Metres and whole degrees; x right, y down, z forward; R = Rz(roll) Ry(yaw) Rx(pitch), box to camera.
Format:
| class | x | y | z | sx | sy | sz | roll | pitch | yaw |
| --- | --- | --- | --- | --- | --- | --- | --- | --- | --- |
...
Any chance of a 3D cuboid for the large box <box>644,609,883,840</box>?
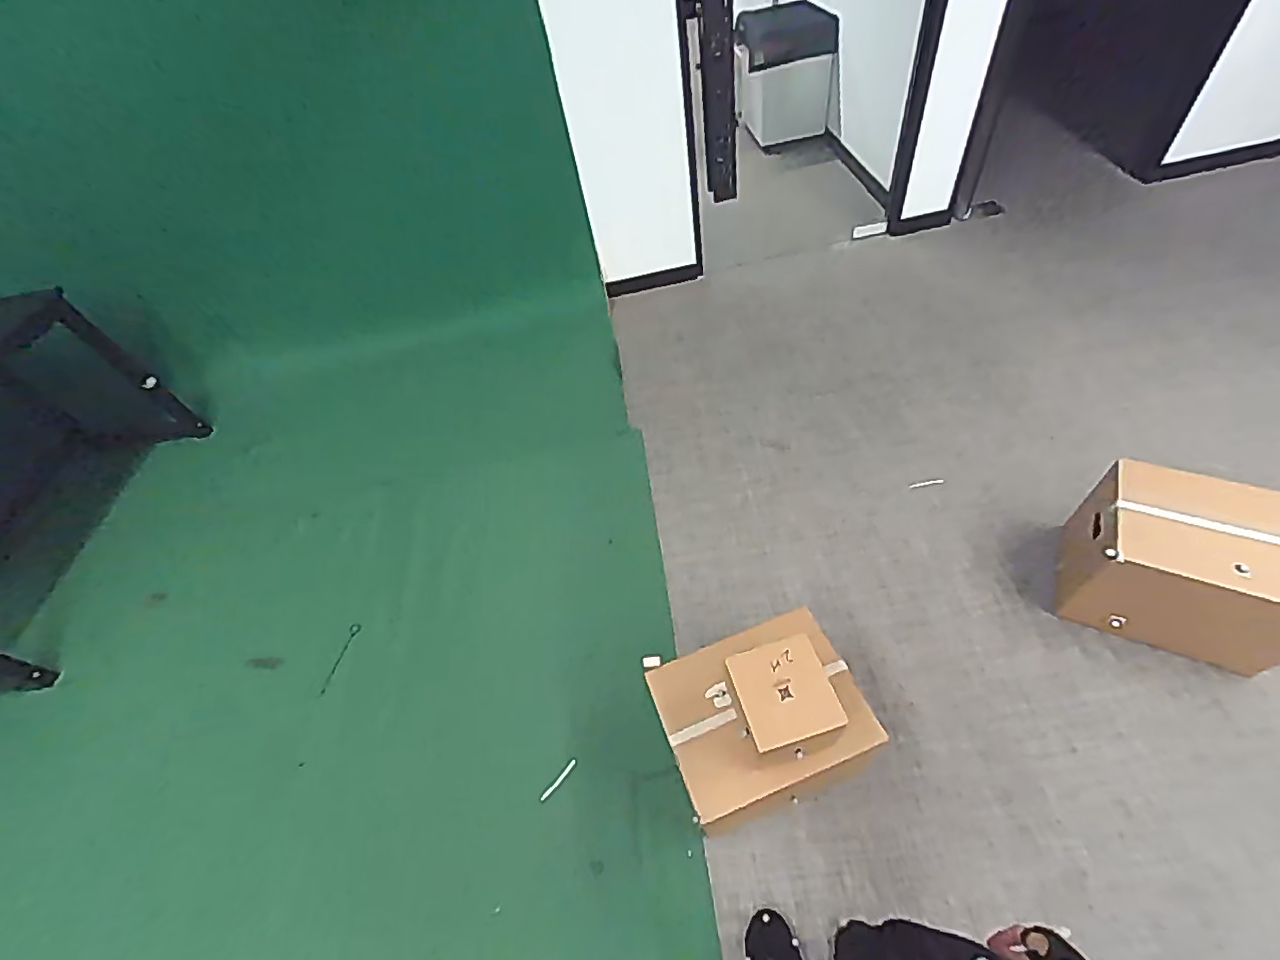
| class | x | y | z | sx | sy | sz | roll | pitch | yaw |
| --- | --- | --- | --- | --- | --- | --- | --- | --- | --- |
| large box | 0.267 | 0.561 | 1.234 | 0.408 | 0.320 | 0.320 | -22 | 50 | -5 |

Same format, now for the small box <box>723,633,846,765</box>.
| class | x | y | z | sx | sy | sz | roll | pitch | yaw |
| --- | --- | --- | --- | --- | --- | --- | --- | --- | --- |
| small box | 0.264 | 0.421 | 1.025 | 0.168 | 0.176 | 0.179 | -16 | 51 | -4 |
